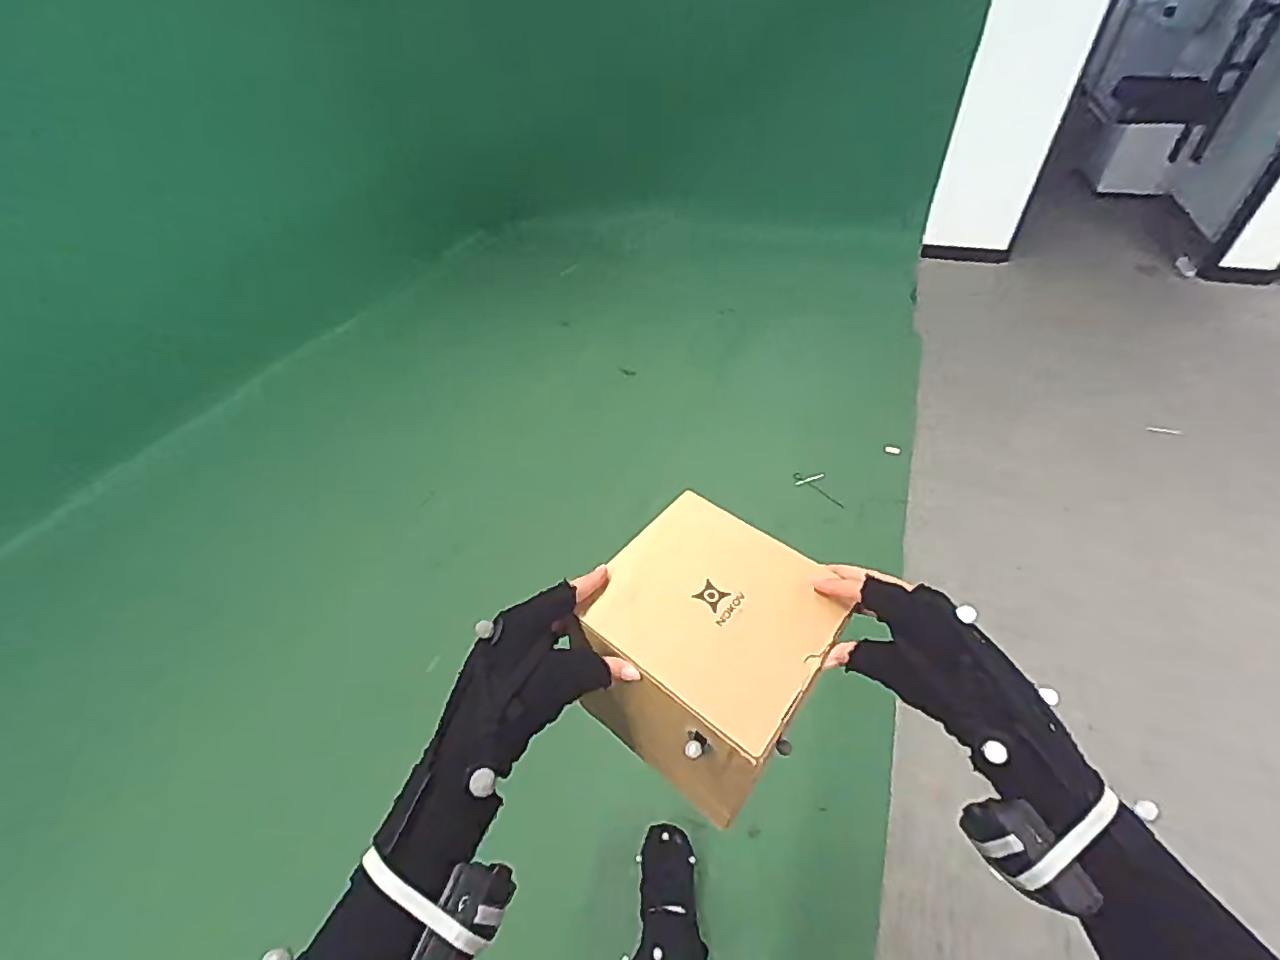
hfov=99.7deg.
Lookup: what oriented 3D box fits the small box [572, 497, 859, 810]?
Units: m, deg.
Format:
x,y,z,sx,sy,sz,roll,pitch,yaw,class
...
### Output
x,y,z,sx,sy,sz,roll,pitch,yaw,class
0.059,0.154,0.487,0.179,0.176,0.168,31,51,26,small box
